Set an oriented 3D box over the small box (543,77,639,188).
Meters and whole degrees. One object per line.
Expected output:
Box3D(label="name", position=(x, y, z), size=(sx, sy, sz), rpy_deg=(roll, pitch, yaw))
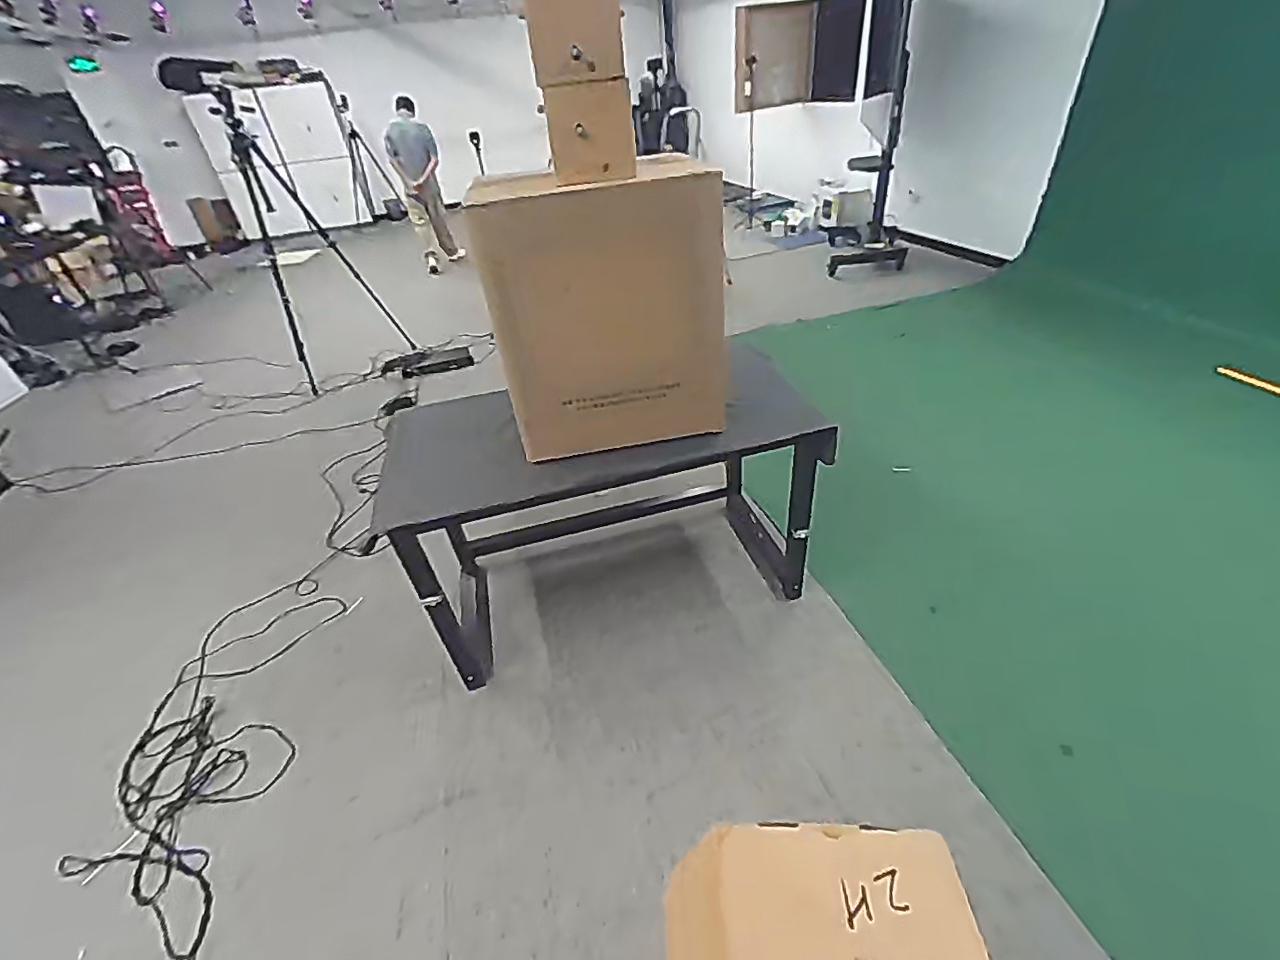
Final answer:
Box3D(label="small box", position=(-0.098, -0.707, 1.105), size=(0.168, 0.176, 0.179), rpy_deg=(-8, 39, -2))
